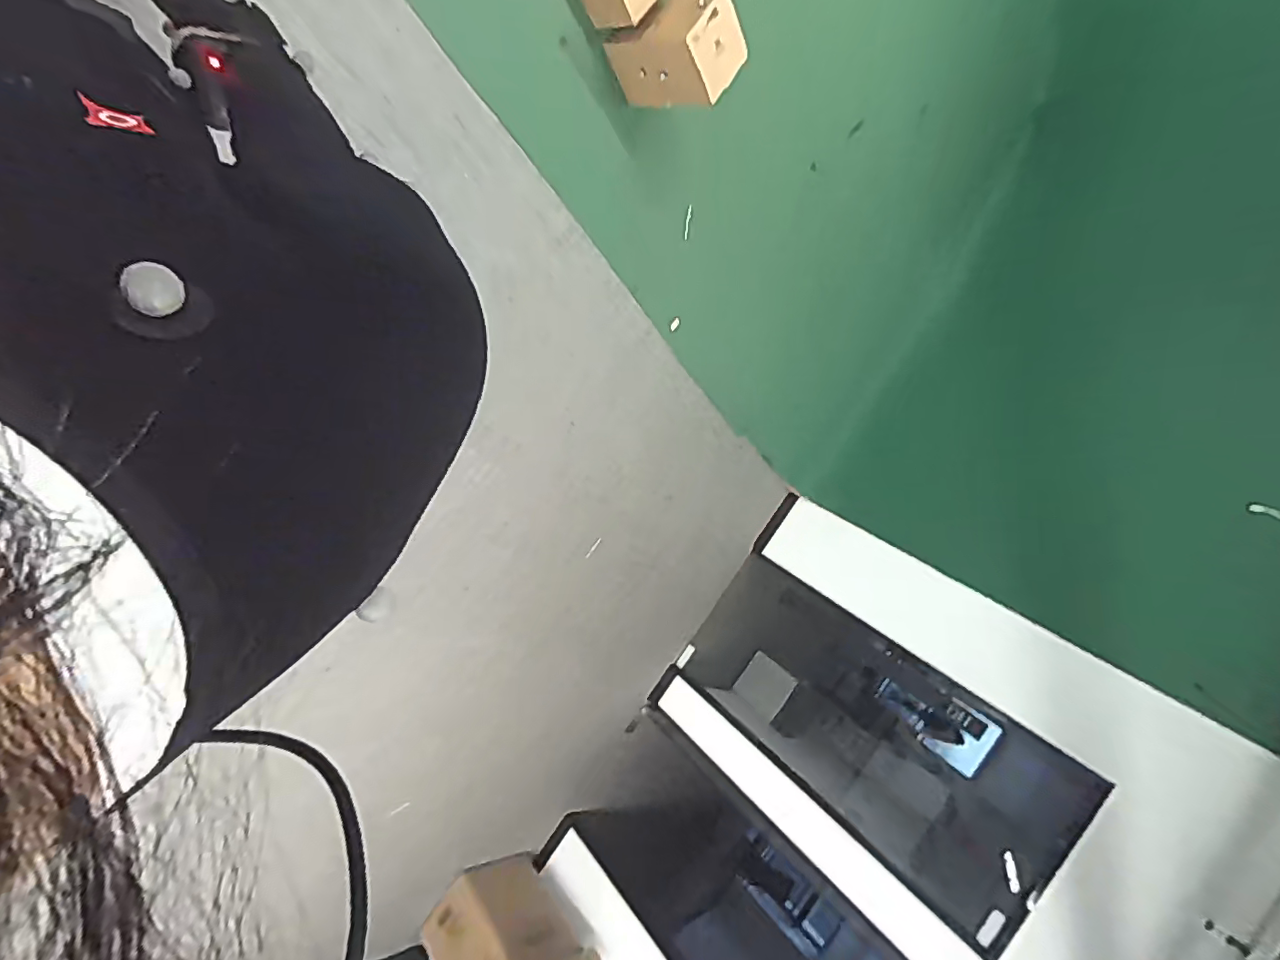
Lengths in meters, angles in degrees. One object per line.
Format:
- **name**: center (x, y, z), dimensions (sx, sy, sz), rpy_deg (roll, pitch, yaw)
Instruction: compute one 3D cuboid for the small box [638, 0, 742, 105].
- **small box**: center (0.128, -1.110, 1.389), dimensions (0.168, 0.176, 0.179), rpy_deg (-55, 144, -2)
